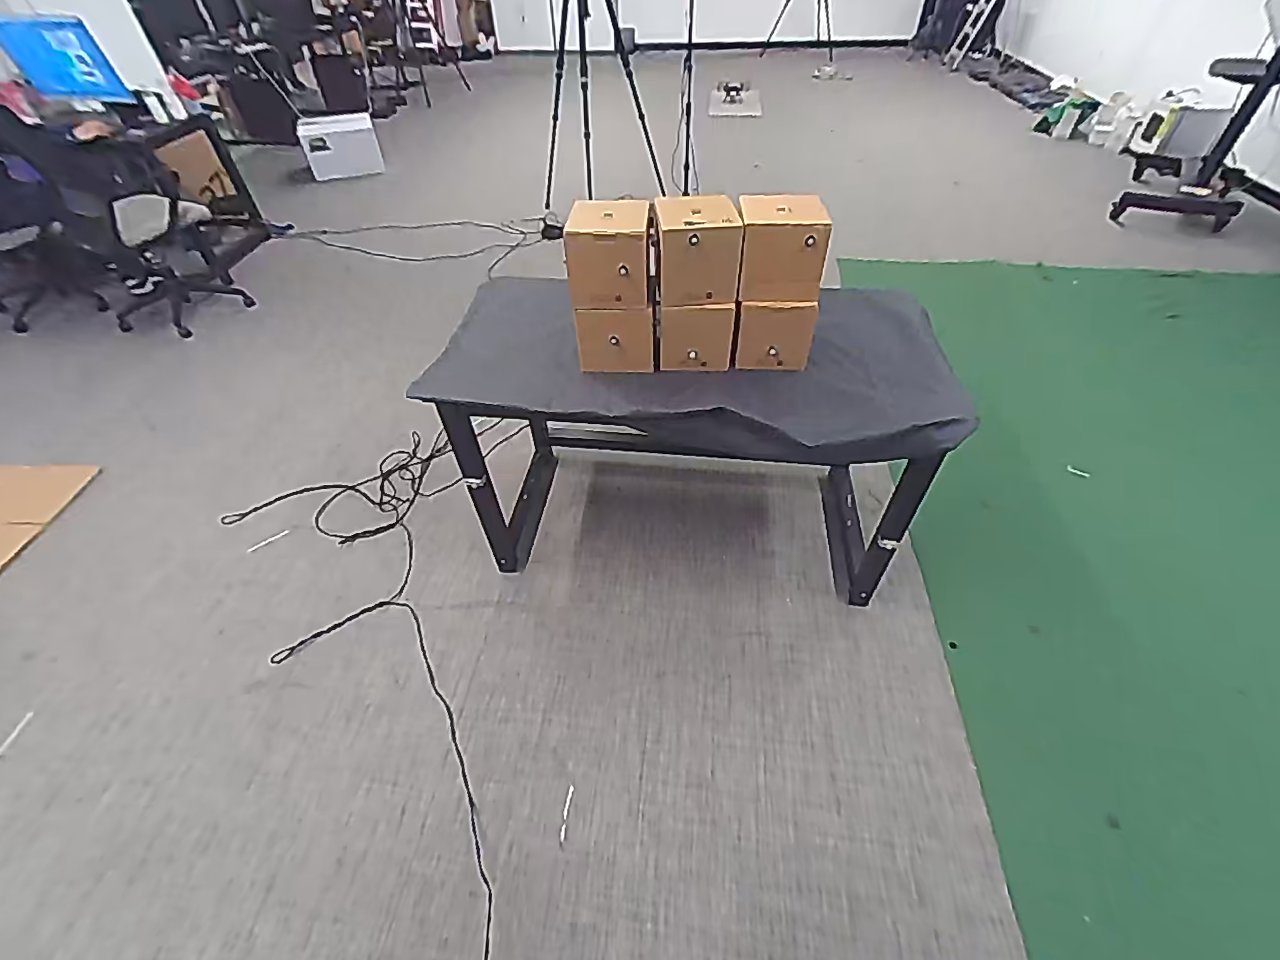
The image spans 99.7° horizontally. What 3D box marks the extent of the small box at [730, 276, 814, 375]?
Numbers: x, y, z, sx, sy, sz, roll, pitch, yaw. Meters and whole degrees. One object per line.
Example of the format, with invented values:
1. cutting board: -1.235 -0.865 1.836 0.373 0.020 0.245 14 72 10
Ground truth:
1. small box: 0.308 -0.372 1.296 0.168 0.176 0.179 1 46 5
